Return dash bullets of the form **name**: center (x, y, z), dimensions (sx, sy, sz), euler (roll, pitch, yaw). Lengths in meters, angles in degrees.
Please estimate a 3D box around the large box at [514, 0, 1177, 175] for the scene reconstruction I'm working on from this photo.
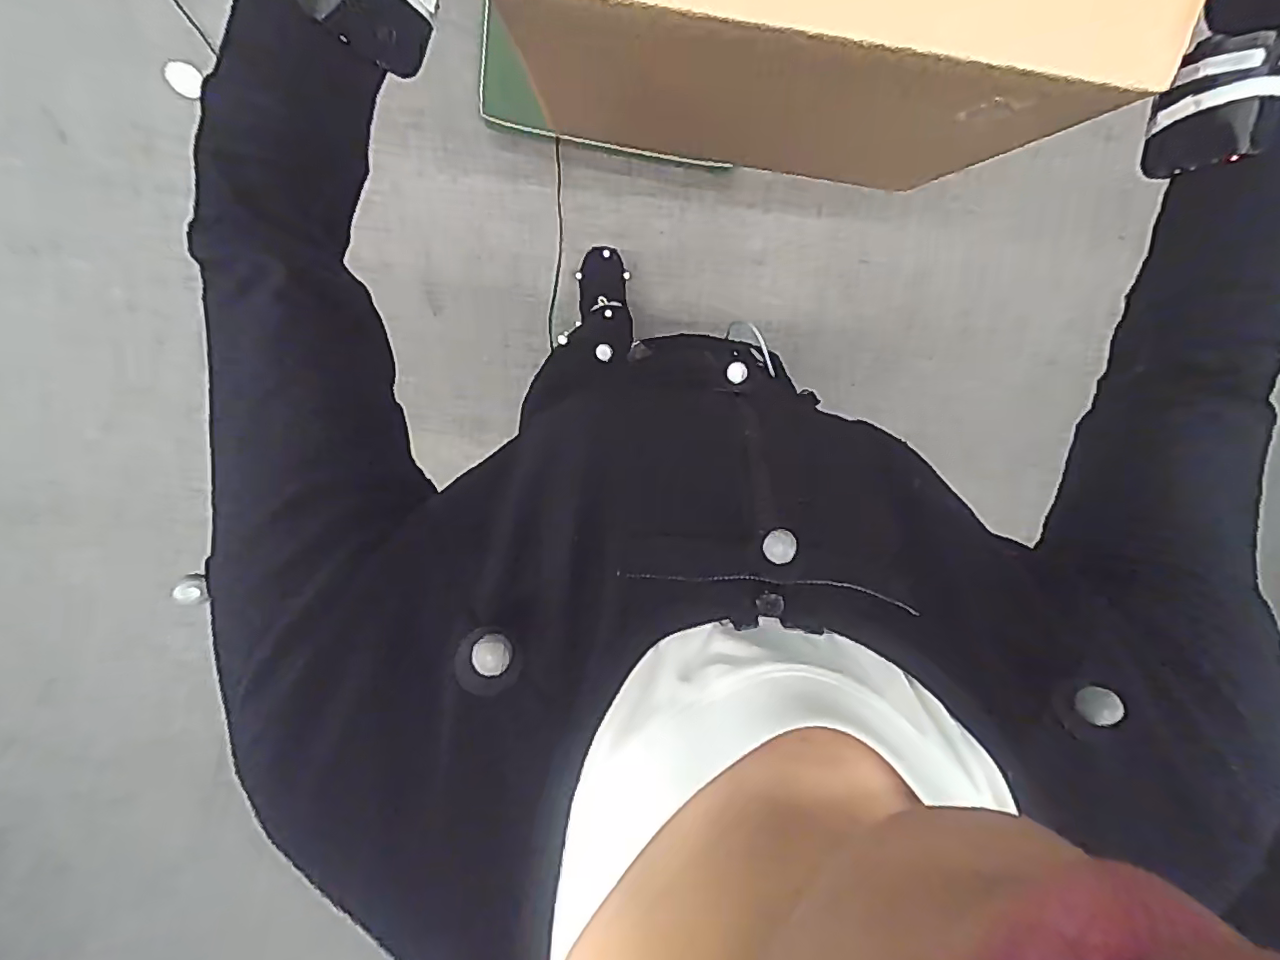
- **large box**: center (0.124, -0.457, 0.408), dimensions (0.408, 0.320, 0.320), euler (6, 109, -5)
